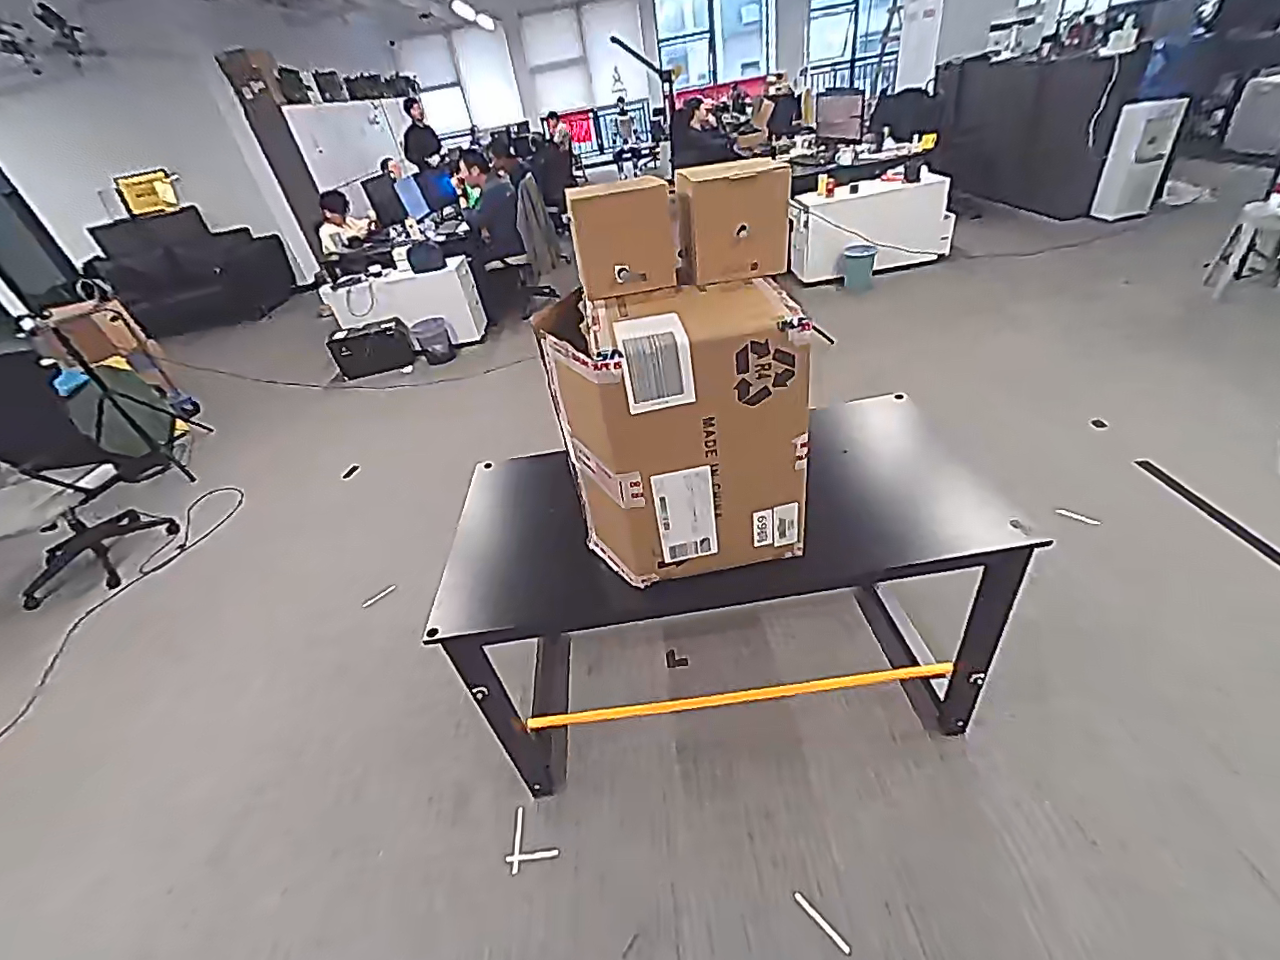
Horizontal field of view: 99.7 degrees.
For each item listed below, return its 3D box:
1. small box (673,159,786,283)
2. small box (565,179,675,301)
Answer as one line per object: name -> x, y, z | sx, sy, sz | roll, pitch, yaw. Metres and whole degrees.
small box -> 0.159, -0.469, 0.986 | 0.168, 0.176, 0.179 | -9, 36, -2
small box -> -0.038, -0.442, 0.996 | 0.168, 0.176, 0.179 | -13, 35, -4
